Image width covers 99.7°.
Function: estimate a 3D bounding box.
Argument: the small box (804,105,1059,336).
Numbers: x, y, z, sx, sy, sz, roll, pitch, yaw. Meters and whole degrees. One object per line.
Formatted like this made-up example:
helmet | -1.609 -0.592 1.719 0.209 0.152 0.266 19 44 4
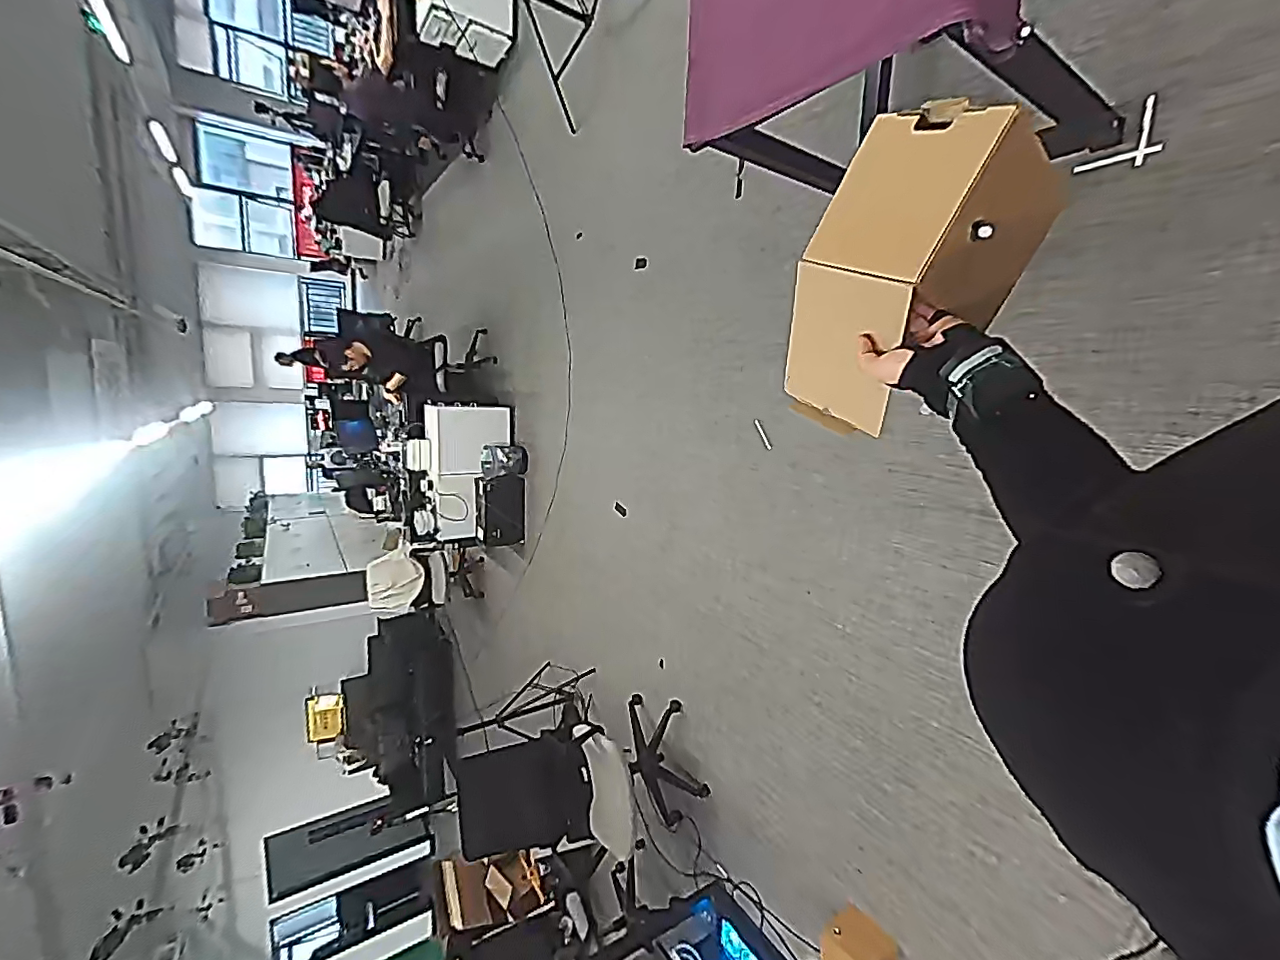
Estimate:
small box | 0.336 -0.290 0.626 0.168 0.176 0.179 44 112 49
